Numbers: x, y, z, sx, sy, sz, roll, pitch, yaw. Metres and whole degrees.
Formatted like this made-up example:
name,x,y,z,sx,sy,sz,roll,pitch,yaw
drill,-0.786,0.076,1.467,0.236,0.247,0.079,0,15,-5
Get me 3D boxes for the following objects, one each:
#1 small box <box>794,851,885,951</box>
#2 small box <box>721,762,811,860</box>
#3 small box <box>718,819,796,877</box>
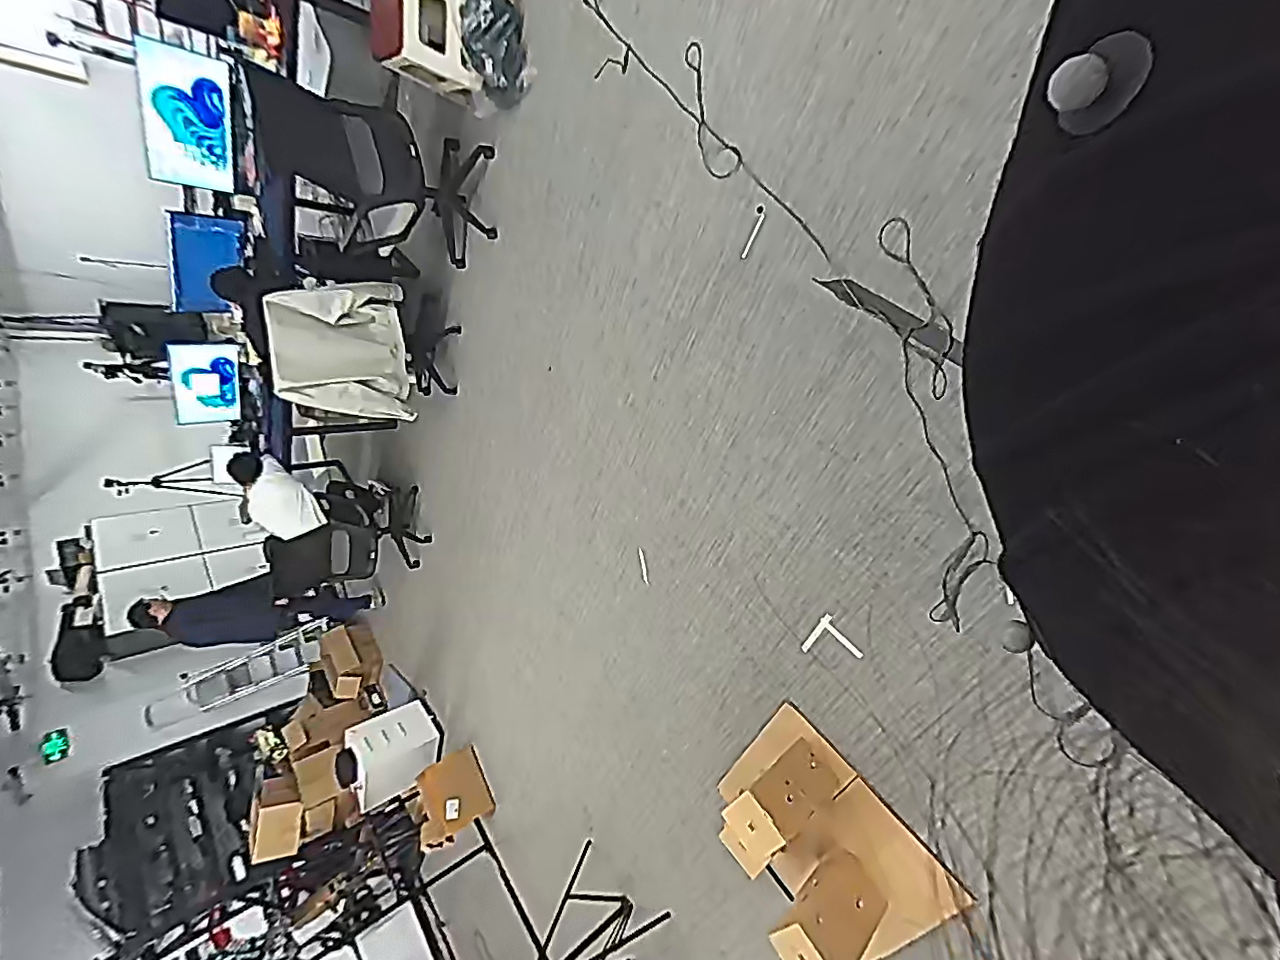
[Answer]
name,x,y,z,sx,sy,sz,roll,pitch,yaw
small box,0.635,1.328,1.711,0.179,0.176,0.168,52,130,24
small box,0.390,1.013,1.663,0.168,0.176,0.179,48,128,28
small box,0.416,1.246,1.925,0.179,0.176,0.168,41,126,34
